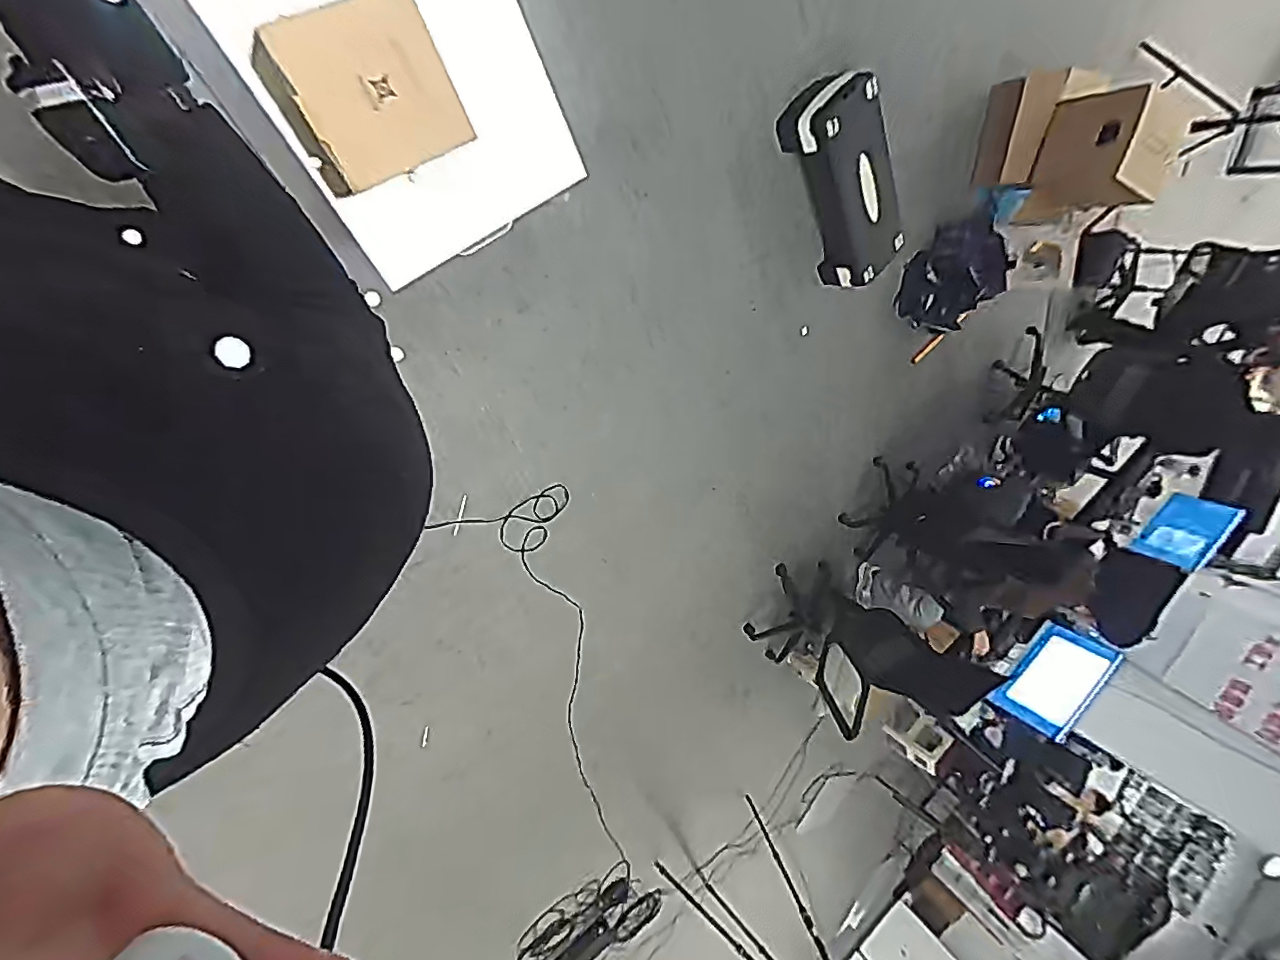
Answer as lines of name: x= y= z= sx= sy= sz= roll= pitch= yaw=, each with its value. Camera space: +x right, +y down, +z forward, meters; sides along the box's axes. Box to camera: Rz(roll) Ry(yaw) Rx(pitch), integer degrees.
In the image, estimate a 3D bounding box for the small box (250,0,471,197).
small box: x=-0.352 y=-0.475 z=0.682 sx=0.179 sy=0.176 sz=0.168 roll=-39 pitch=131 yaw=-18
